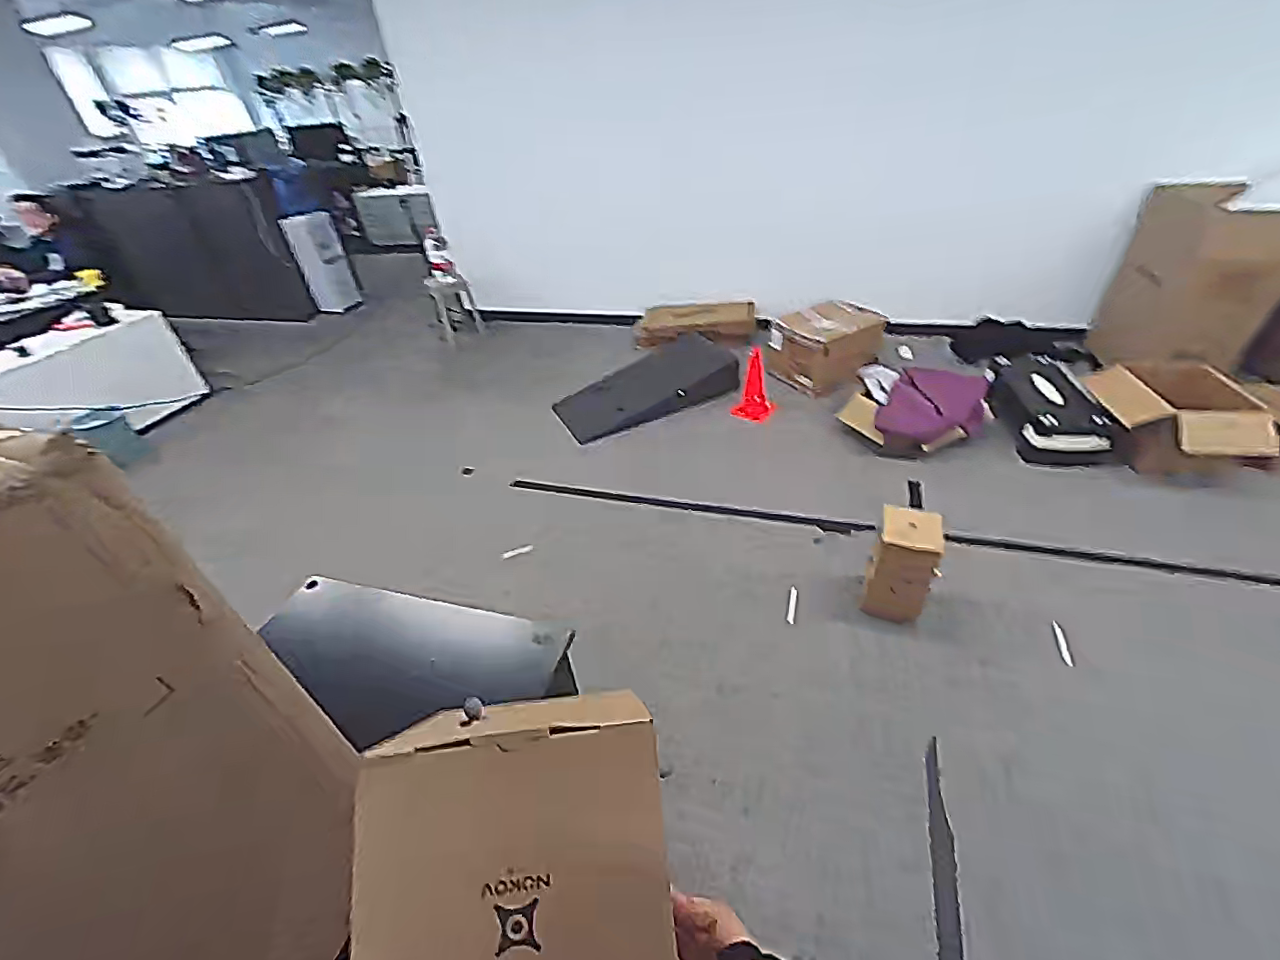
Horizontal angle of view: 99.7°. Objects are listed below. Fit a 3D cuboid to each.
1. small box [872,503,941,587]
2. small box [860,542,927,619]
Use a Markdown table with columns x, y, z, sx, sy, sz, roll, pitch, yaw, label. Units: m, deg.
| x | y | z | sx | sy | sz | roll | pitch | yaw | label |
| --- | --- | --- | --- | --- | --- | --- | --- | --- | --- |
| 0.832 | 0.203 | 1.695 | 0.168 | 0.176 | 0.179 | 9 | 41 | 20 | small box |
| 0.838 | 0.335 | 1.794 | 0.179 | 0.176 | 0.168 | 10 | 41 | 19 | small box |
